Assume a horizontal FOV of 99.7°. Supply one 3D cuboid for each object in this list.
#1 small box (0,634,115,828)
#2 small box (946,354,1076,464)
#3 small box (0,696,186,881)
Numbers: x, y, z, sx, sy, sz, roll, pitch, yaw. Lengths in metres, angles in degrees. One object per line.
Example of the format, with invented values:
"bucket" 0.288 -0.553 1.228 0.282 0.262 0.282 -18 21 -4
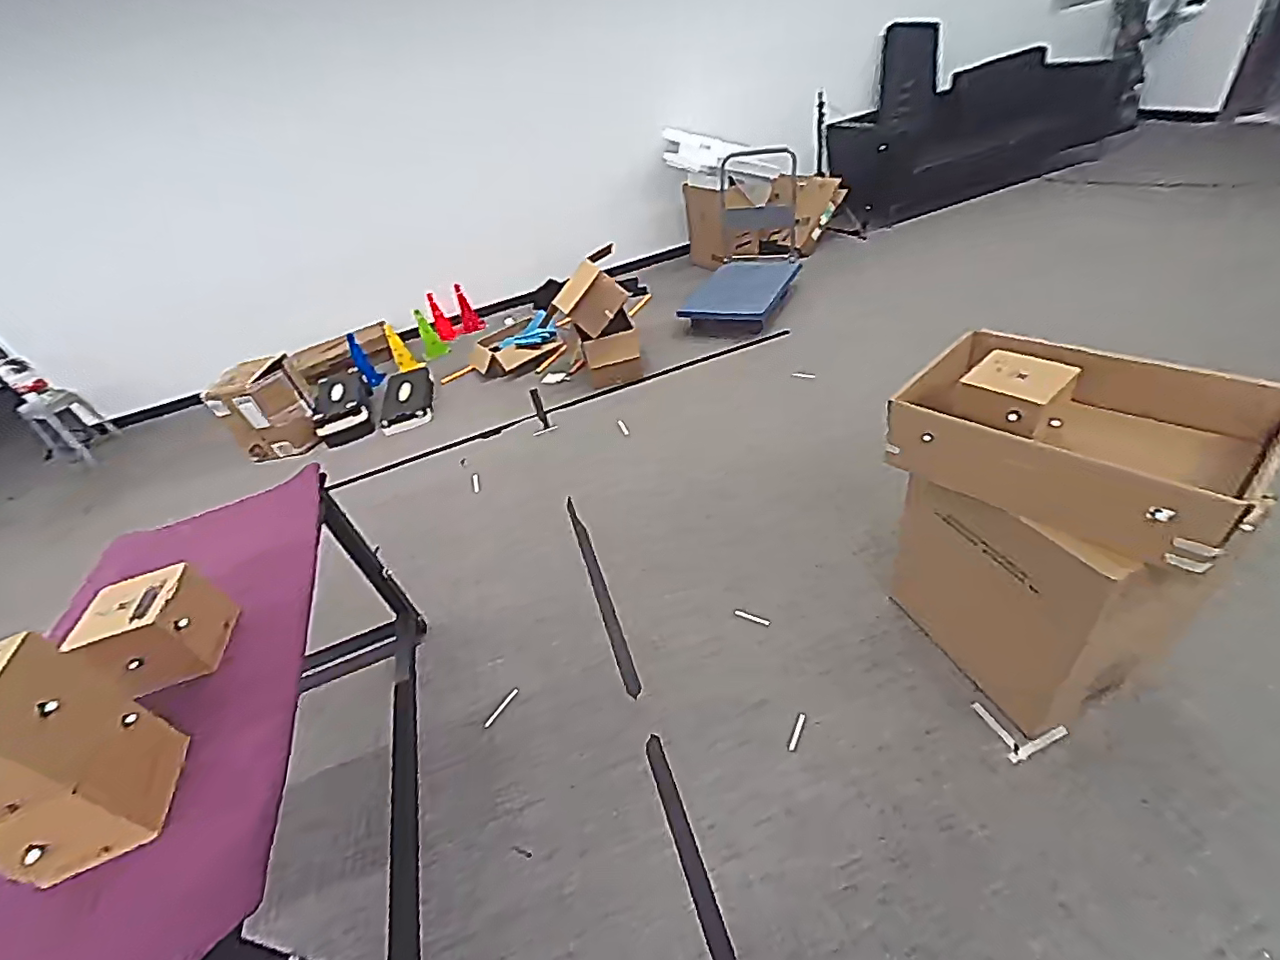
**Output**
"small box" -0.892 0.356 0.743 0.168 0.176 0.179 -23 39 -10
"small box" 0.834 -0.159 1.231 0.168 0.176 0.179 -34 42 -23
"small box" -0.864 0.484 0.842 0.168 0.176 0.179 -22 38 -11
